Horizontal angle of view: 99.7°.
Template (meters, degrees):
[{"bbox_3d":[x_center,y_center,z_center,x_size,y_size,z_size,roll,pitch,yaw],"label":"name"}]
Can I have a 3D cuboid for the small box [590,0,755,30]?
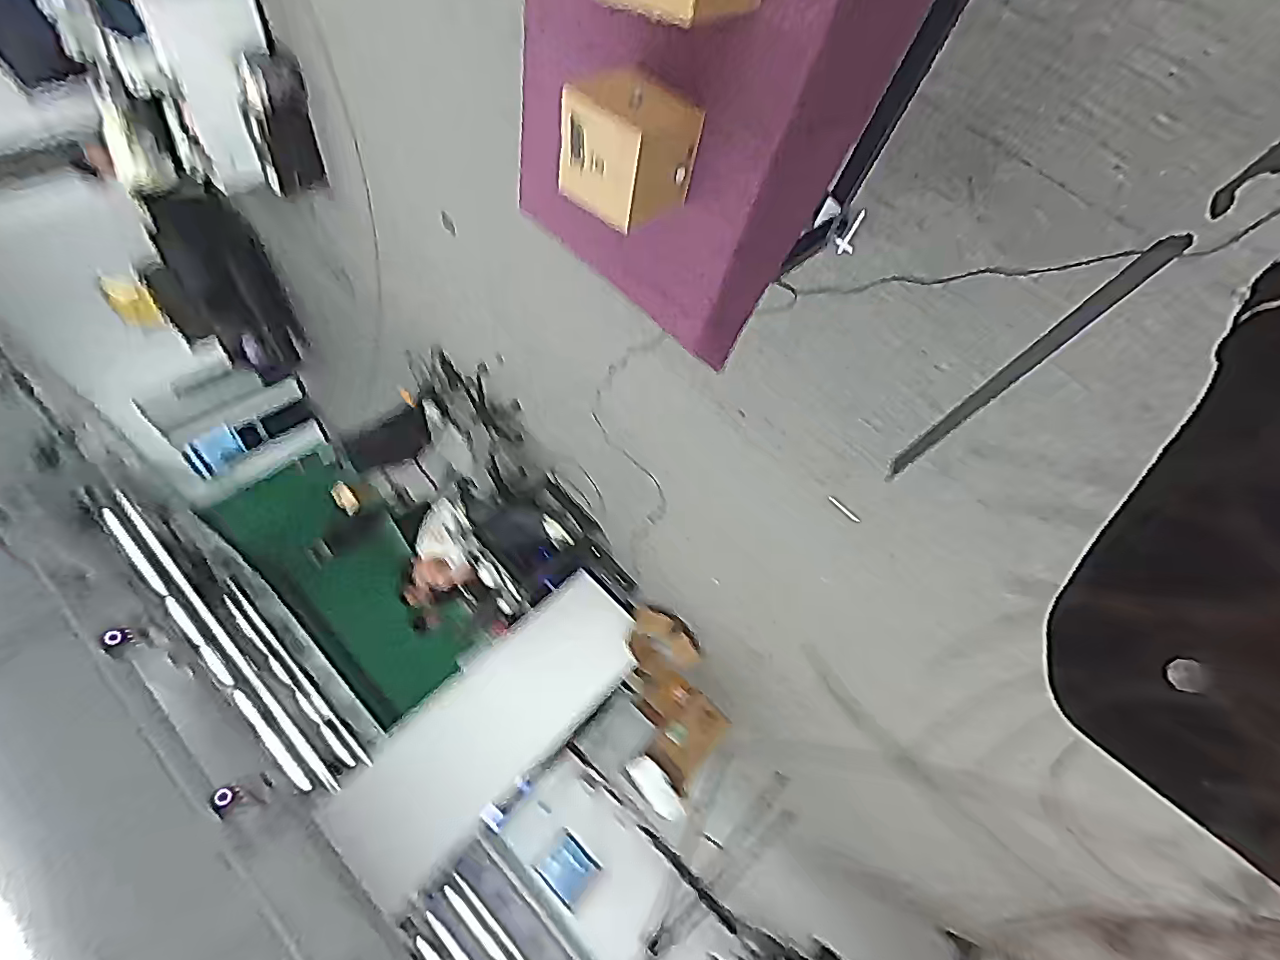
[{"bbox_3d":[0.049,-0.715,0.697,0.179,0.176,0.168,37,149,22],"label":"small box"}]

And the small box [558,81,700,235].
[{"bbox_3d":[-0.023,-0.575,0.959,0.179,0.176,0.168,40,150,16],"label":"small box"}]
